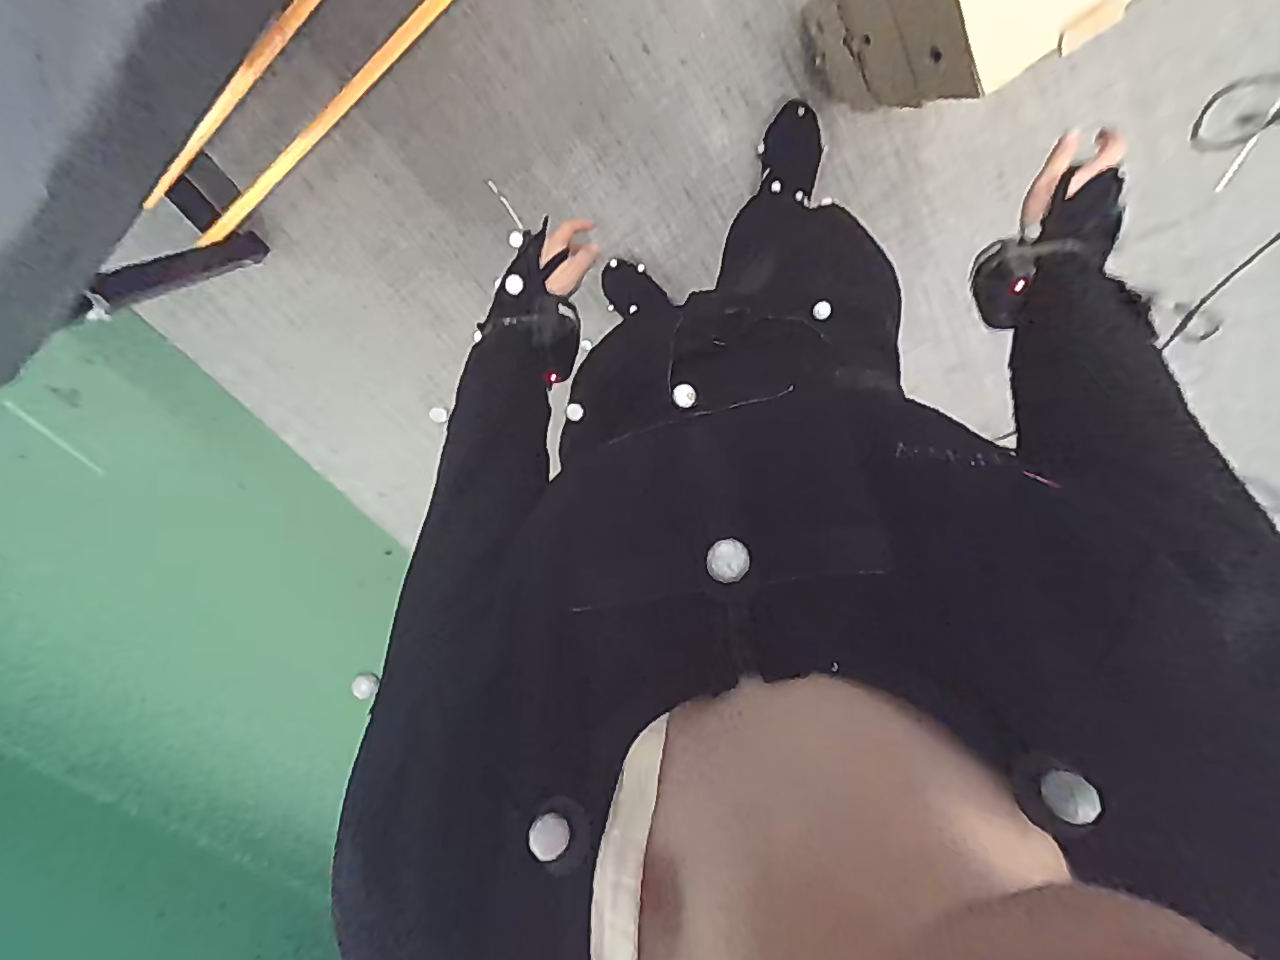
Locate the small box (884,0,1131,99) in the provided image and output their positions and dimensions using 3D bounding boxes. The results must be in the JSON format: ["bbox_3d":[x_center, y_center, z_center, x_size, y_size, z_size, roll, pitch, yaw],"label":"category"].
[{"bbox_3d":[0.322,-0.473,0.472,0.168,0.176,0.179,-27,116,22],"label":"small box"}]

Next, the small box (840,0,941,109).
[{"bbox_3d":[0.339,-0.559,0.608,0.168,0.176,0.179,-27,118,21],"label":"small box"}]

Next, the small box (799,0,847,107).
[{"bbox_3d":[0.380,-0.742,0.877,0.179,0.176,0.168,-26,116,21],"label":"small box"}]

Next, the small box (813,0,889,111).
[{"bbox_3d":[0.356,-0.644,0.748,0.179,0.176,0.168,-28,116,22],"label":"small box"}]
